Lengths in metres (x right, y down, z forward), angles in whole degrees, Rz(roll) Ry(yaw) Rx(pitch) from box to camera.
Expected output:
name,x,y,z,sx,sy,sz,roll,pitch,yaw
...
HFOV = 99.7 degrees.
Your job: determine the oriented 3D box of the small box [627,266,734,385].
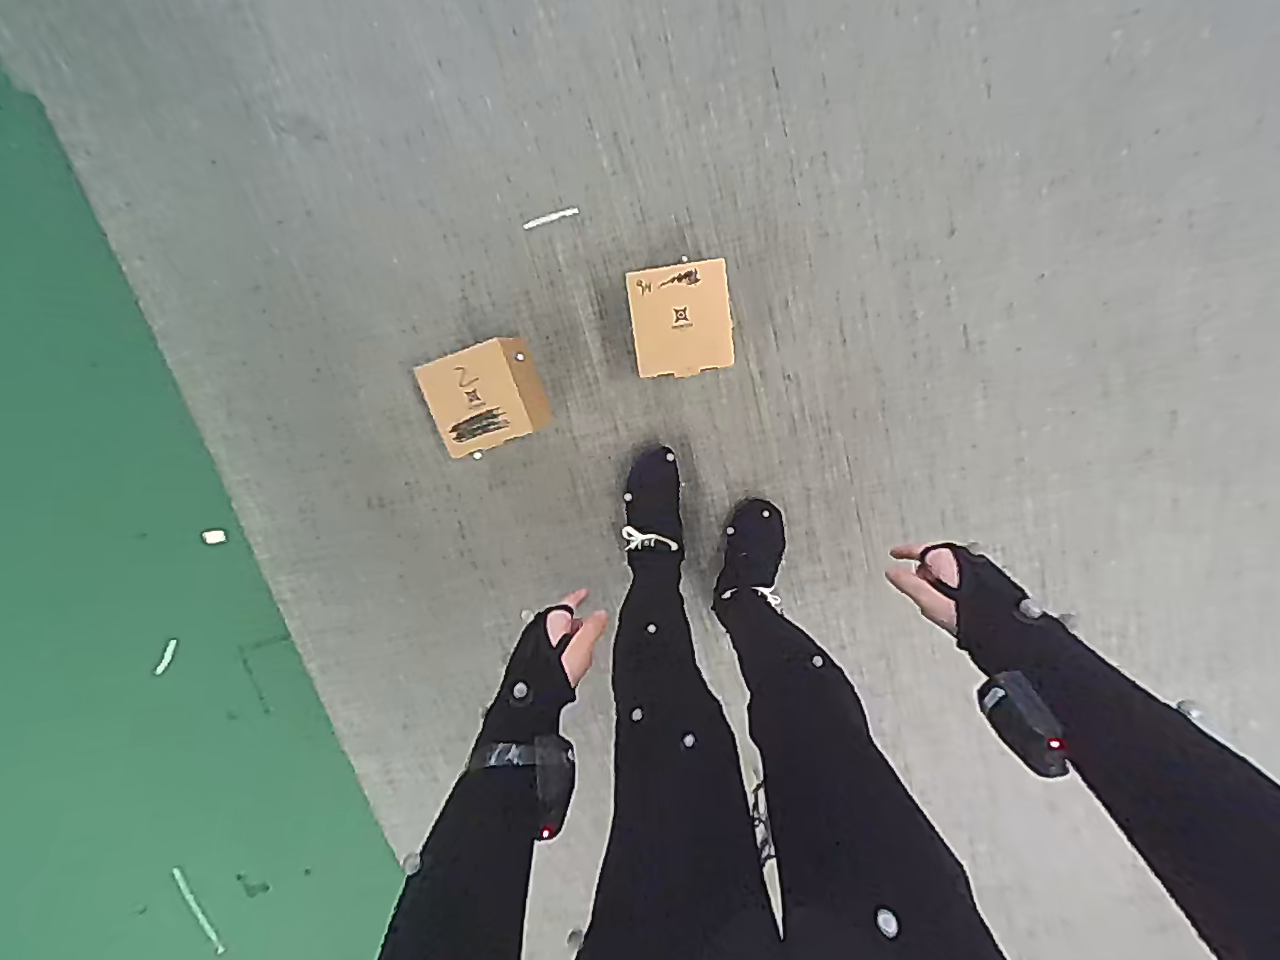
name,x,y,z,sx,sy,sz,roll,pitch,yaw
small box,0.075,-0.277,0.977,0.168,0.176,0.179,-7,105,5
